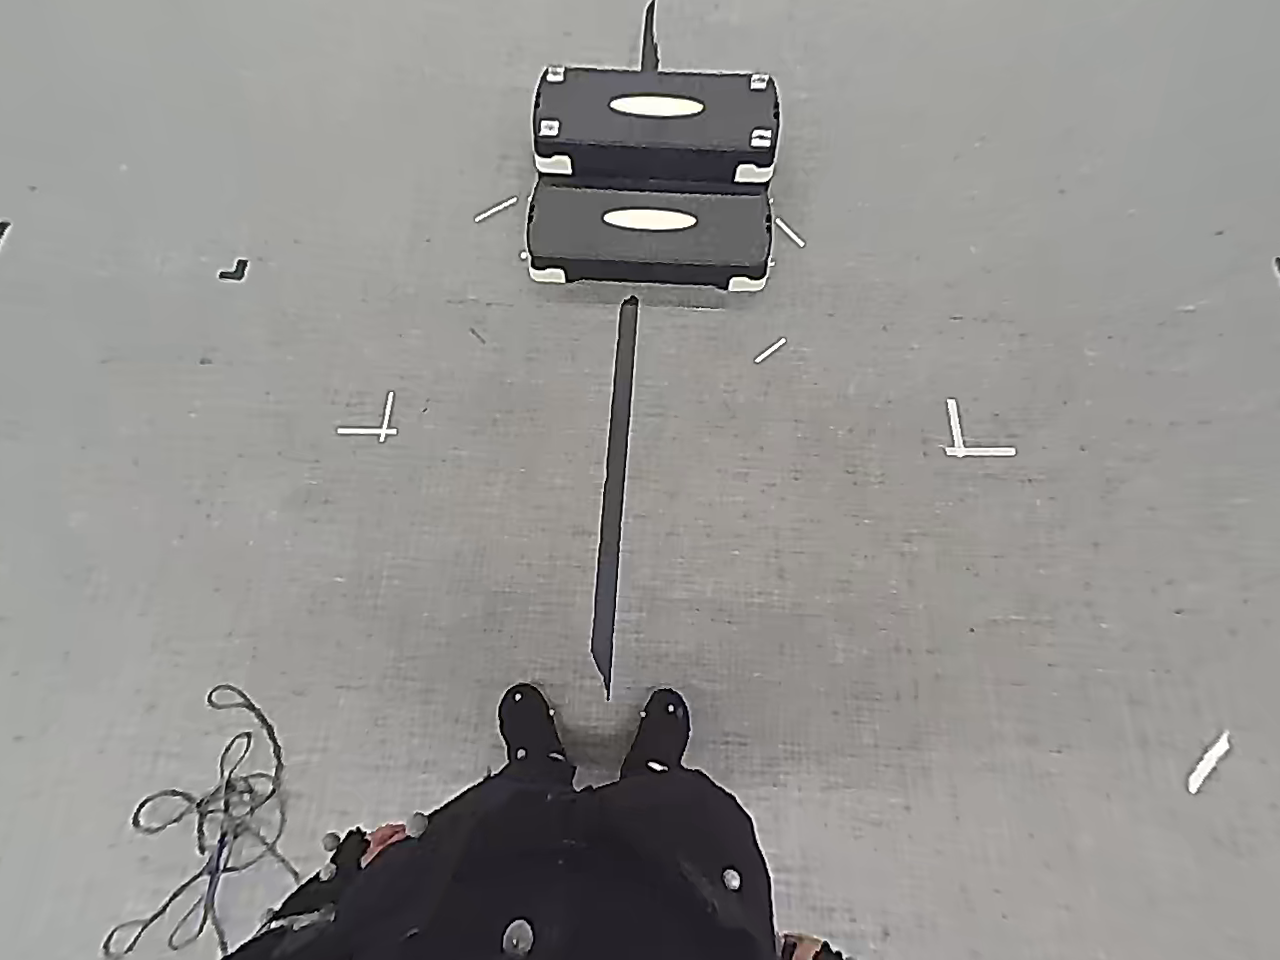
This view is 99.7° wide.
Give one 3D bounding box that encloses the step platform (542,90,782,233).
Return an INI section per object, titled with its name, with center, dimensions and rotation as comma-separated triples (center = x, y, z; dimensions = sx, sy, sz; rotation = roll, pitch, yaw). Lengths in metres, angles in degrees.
[step platform]
center = 0.061, -0.929, 1.579
dimensions = 0.684, 0.204, 0.286
rotation = 7, 71, 2
